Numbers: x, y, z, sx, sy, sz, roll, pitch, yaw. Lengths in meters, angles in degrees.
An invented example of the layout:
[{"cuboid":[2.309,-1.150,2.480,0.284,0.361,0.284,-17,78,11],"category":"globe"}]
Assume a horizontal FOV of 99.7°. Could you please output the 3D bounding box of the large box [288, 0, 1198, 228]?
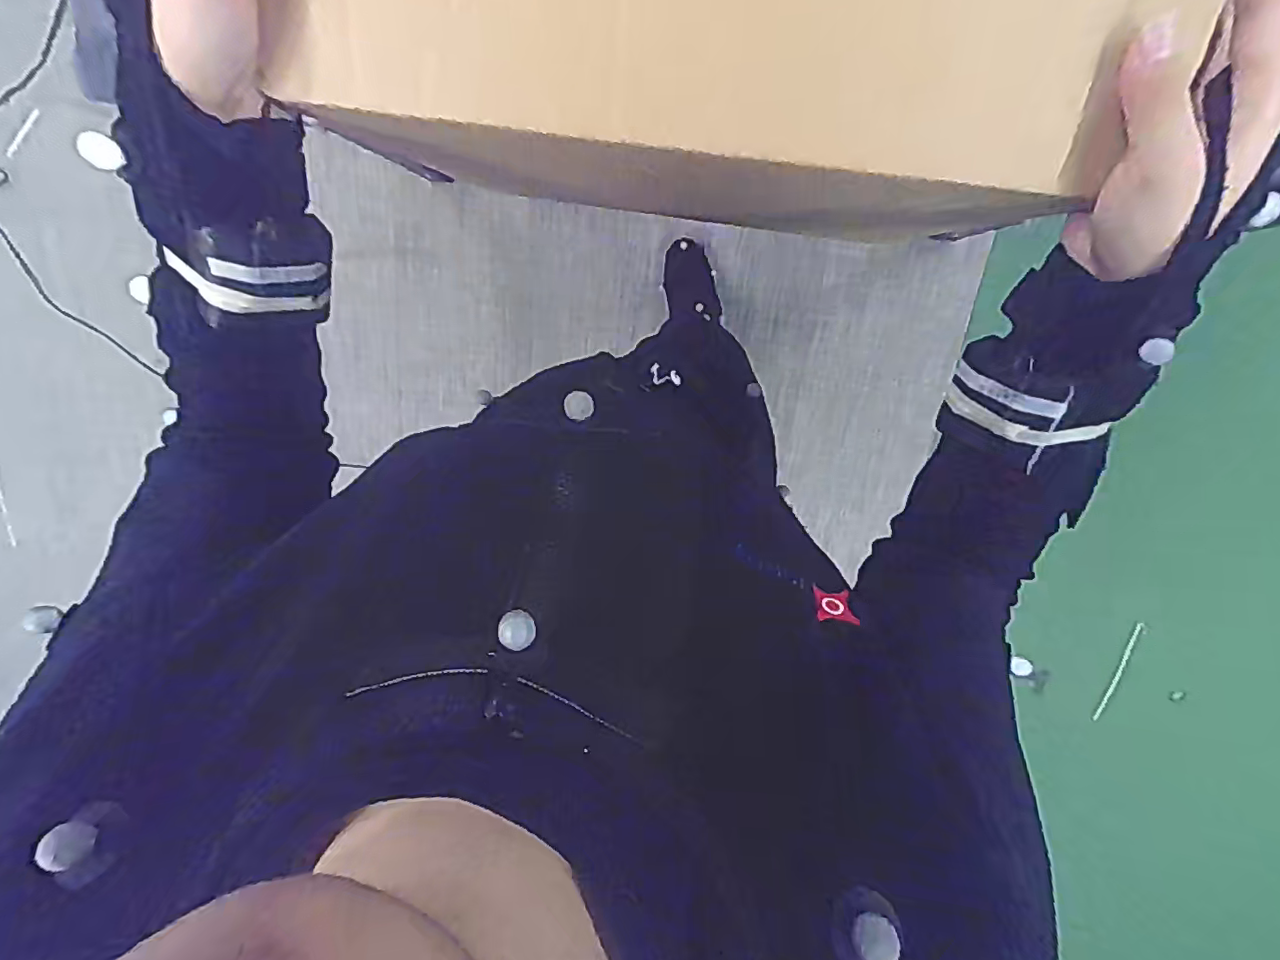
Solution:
[{"cuboid":[0.055,-0.359,0.341,0.408,0.320,0.320,7,111,0],"category":"large box"}]
